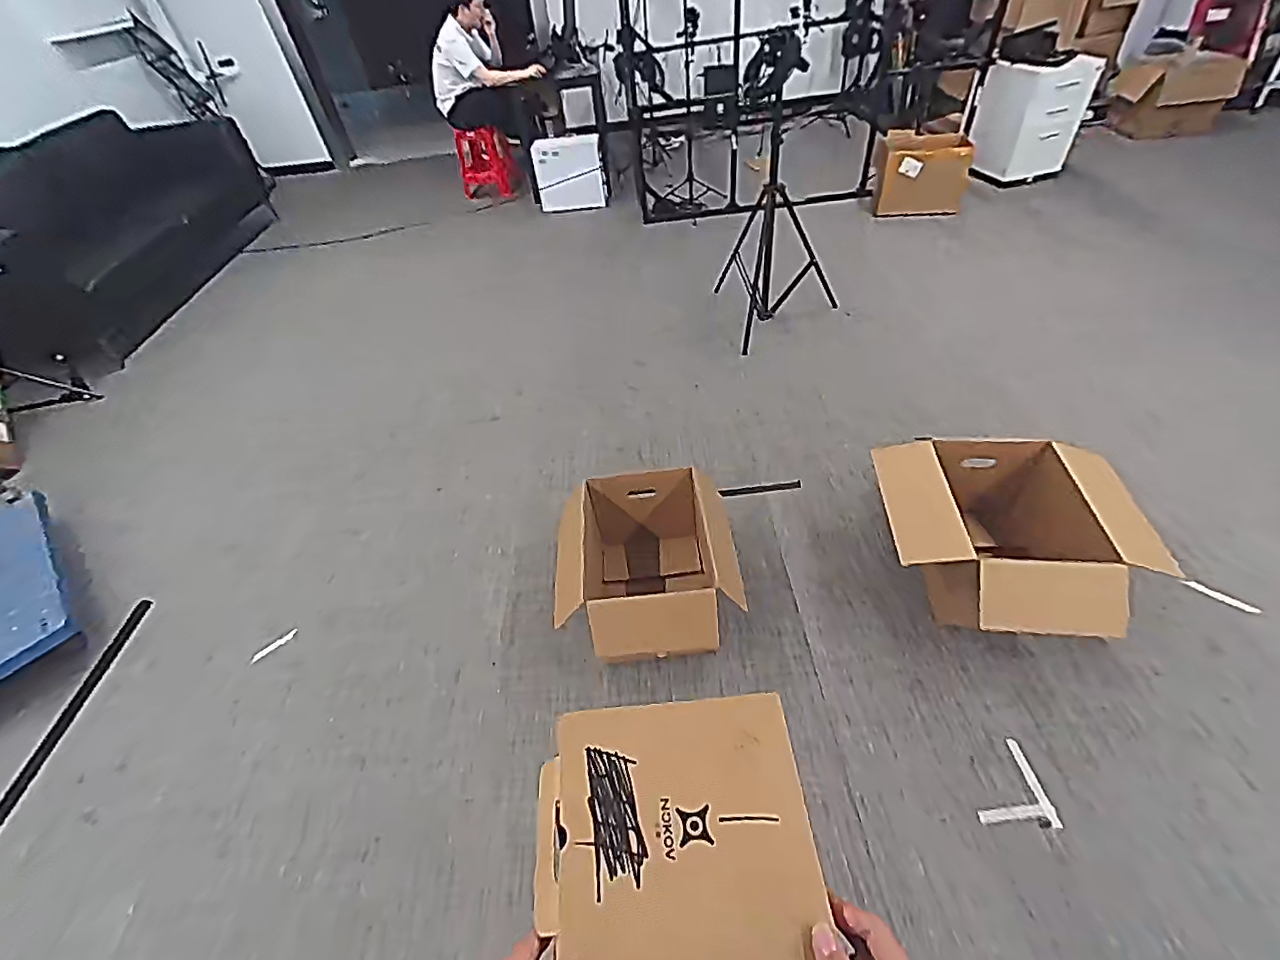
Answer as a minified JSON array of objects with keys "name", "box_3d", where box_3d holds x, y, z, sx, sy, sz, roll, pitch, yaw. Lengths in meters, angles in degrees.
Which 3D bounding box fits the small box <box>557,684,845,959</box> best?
[{"name":"small box","box_3d":[0.036,0.280,0.431,0.179,0.176,0.168,-5,50,-1]}]
